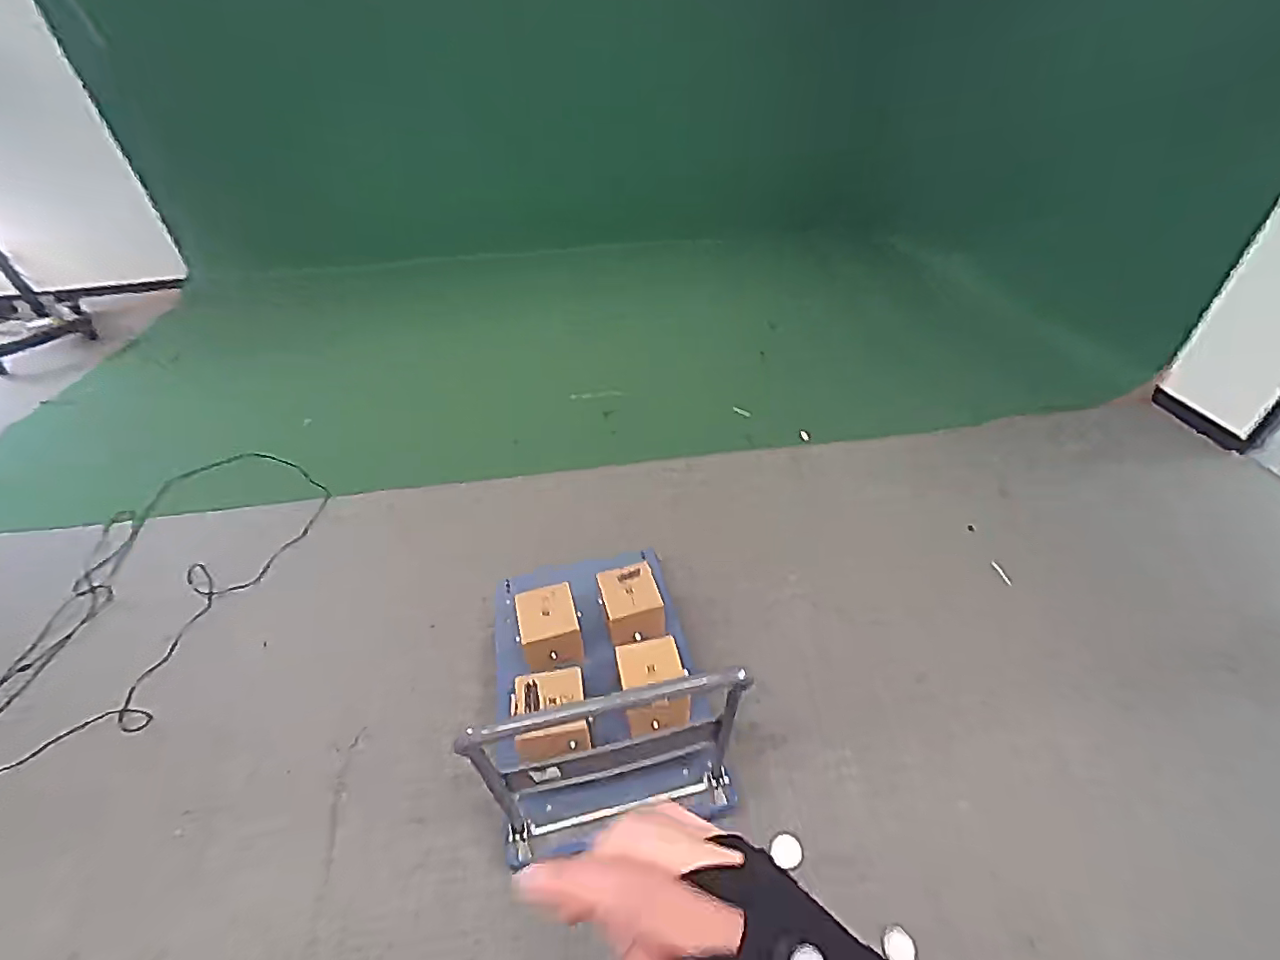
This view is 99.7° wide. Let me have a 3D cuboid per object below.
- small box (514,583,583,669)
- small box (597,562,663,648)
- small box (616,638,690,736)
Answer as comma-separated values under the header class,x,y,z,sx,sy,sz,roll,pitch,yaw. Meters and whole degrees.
class,x,y,z,sx,sy,sz,roll,pitch,yaw
small box,-0.272,0.444,1.618,0.168,0.176,0.179,-12,42,-11
small box,-0.031,0.387,1.667,0.168,0.176,0.179,-14,44,-10
small box,0.031,0.562,1.470,0.168,0.176,0.179,-10,43,-8
